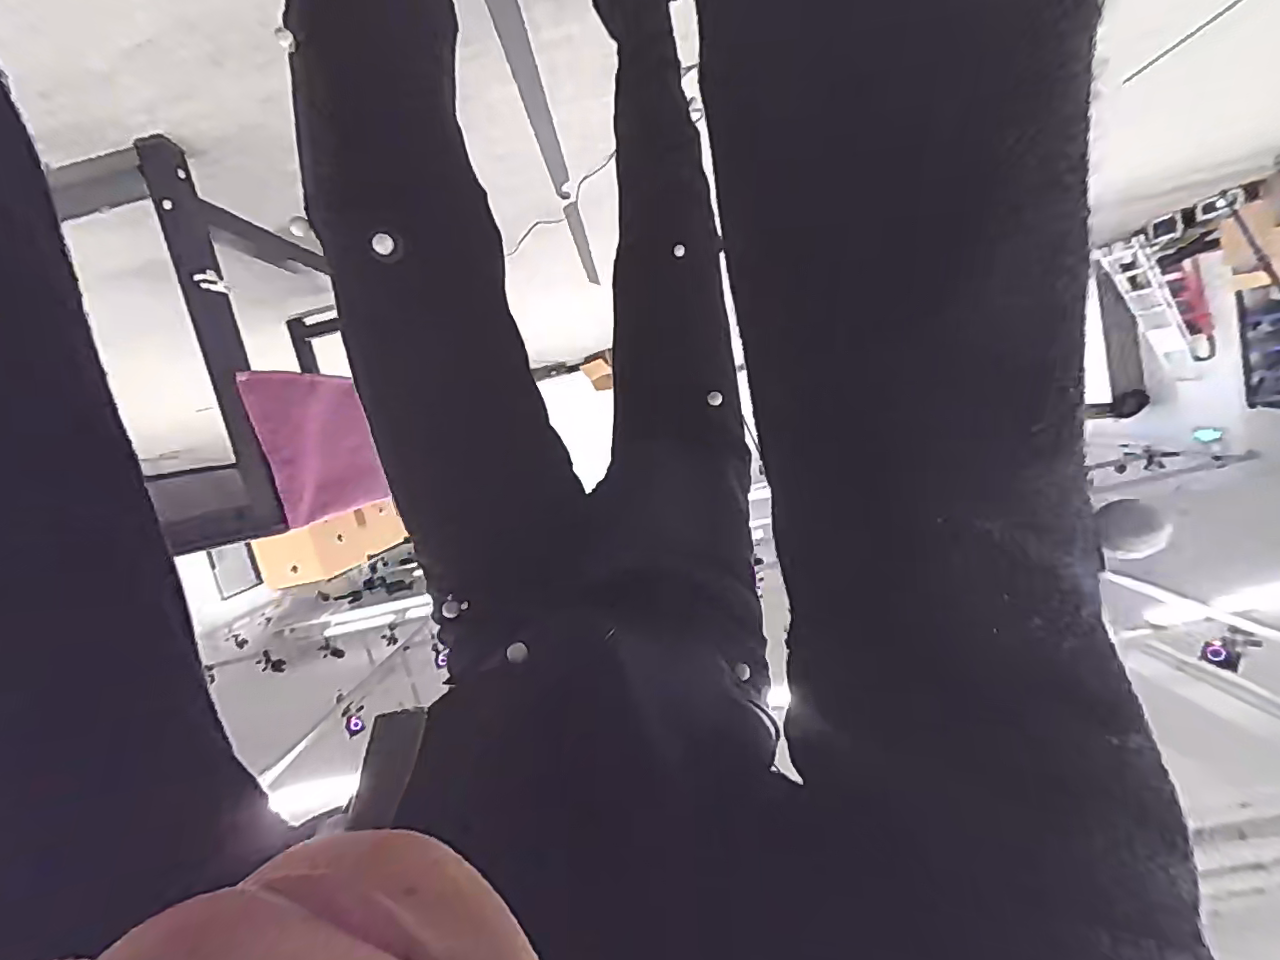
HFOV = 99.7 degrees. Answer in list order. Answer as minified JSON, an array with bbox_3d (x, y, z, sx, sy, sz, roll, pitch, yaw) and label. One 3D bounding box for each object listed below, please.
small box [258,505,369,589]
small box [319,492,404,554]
[{"bbox_3d":[-0.877,0.172,1.454,0.179,0.176,0.168,-12,-174,12],"label":"small box"},{"bbox_3d":[-0.885,0.143,1.706,0.179,0.176,0.168,-14,-173,6],"label":"small box"}]
